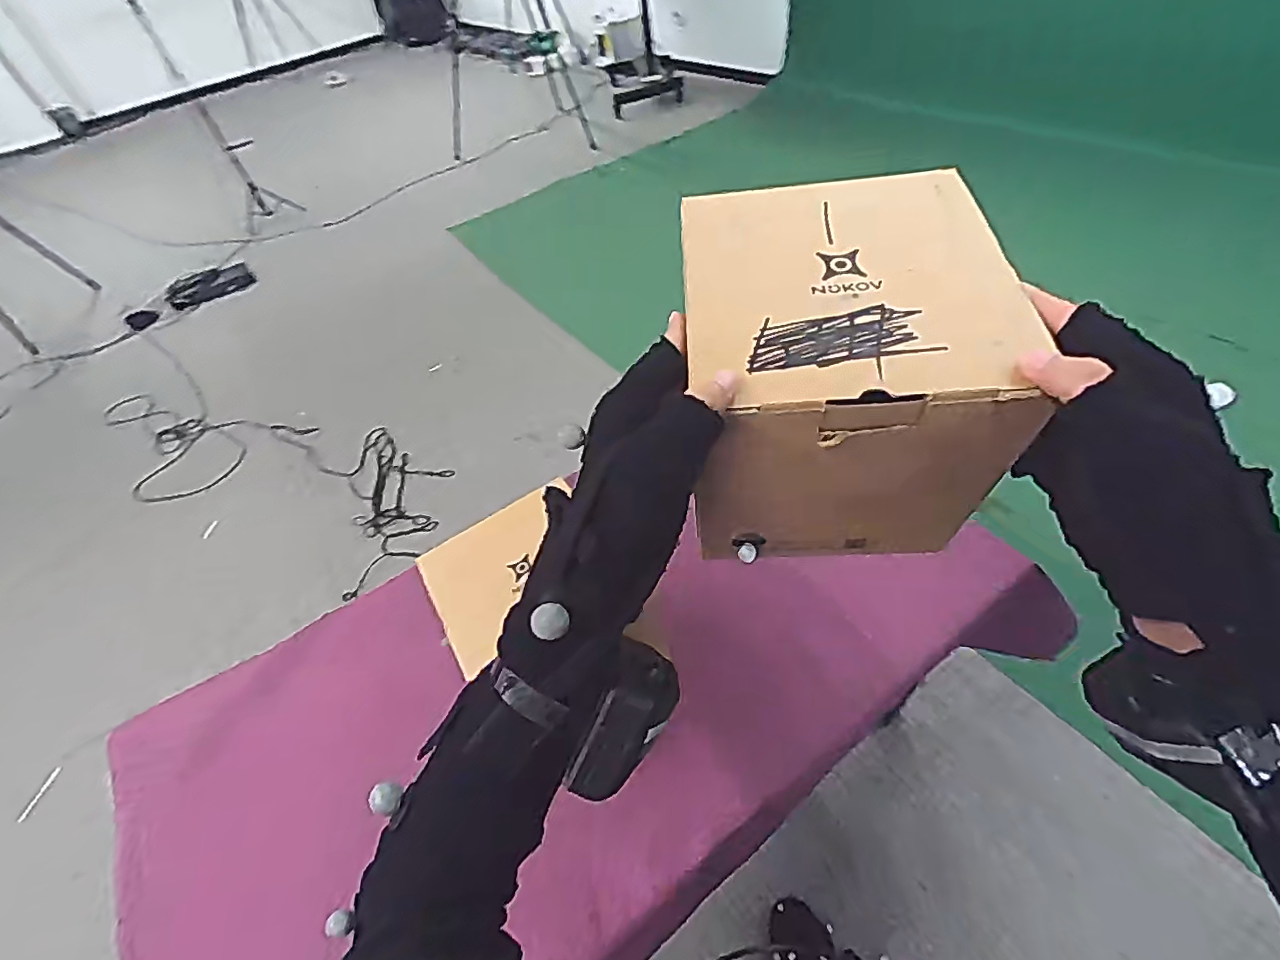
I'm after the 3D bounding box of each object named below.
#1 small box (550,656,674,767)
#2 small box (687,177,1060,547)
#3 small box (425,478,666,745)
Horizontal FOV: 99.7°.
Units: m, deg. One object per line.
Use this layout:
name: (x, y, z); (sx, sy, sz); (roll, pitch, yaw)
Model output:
small box: (-0.072, 0.231, 0.698); (0.168, 0.176, 0.179); (-29, 52, -14)
small box: (0.118, -0.063, 0.358); (0.168, 0.176, 0.179); (-2, 56, 7)
small box: (-0.090, 0.138, 0.564); (0.168, 0.176, 0.179); (-31, 52, -14)
